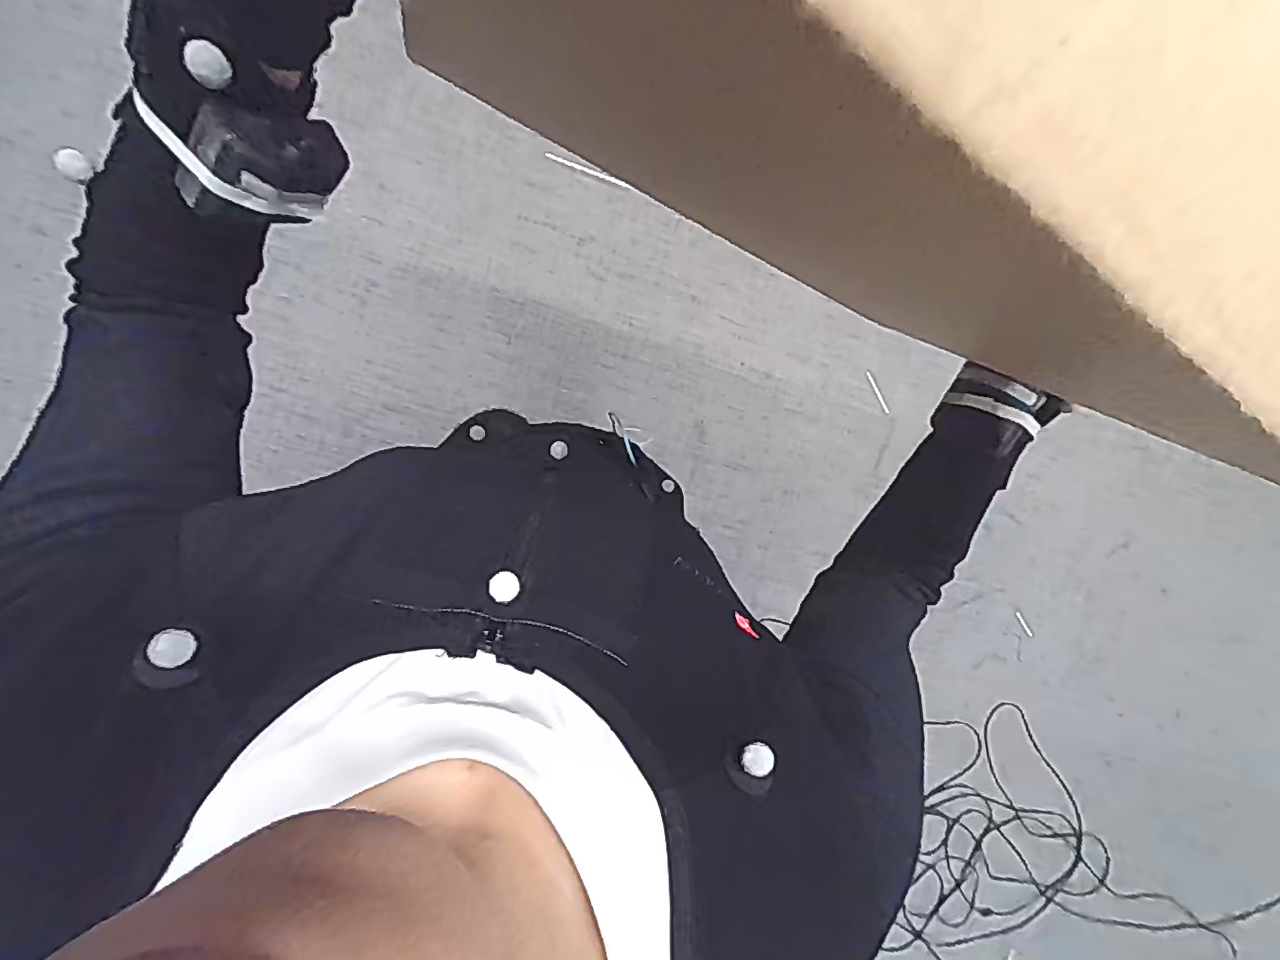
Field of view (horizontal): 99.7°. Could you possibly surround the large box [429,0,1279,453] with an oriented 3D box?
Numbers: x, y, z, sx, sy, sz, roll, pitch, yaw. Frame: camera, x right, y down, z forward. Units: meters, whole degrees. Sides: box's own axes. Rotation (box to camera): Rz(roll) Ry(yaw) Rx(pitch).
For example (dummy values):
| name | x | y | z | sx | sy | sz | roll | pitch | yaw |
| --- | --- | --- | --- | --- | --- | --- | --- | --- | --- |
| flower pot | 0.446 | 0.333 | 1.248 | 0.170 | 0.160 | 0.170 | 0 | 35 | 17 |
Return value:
| name | x | y | z | sx | sy | sz | roll | pitch | yaw |
| --- | --- | --- | --- | --- | --- | --- | --- | --- | --- |
| large box | 0.167 | -0.243 | 0.209 | 0.408 | 0.320 | 0.320 | 13 | 116 | -31 |
